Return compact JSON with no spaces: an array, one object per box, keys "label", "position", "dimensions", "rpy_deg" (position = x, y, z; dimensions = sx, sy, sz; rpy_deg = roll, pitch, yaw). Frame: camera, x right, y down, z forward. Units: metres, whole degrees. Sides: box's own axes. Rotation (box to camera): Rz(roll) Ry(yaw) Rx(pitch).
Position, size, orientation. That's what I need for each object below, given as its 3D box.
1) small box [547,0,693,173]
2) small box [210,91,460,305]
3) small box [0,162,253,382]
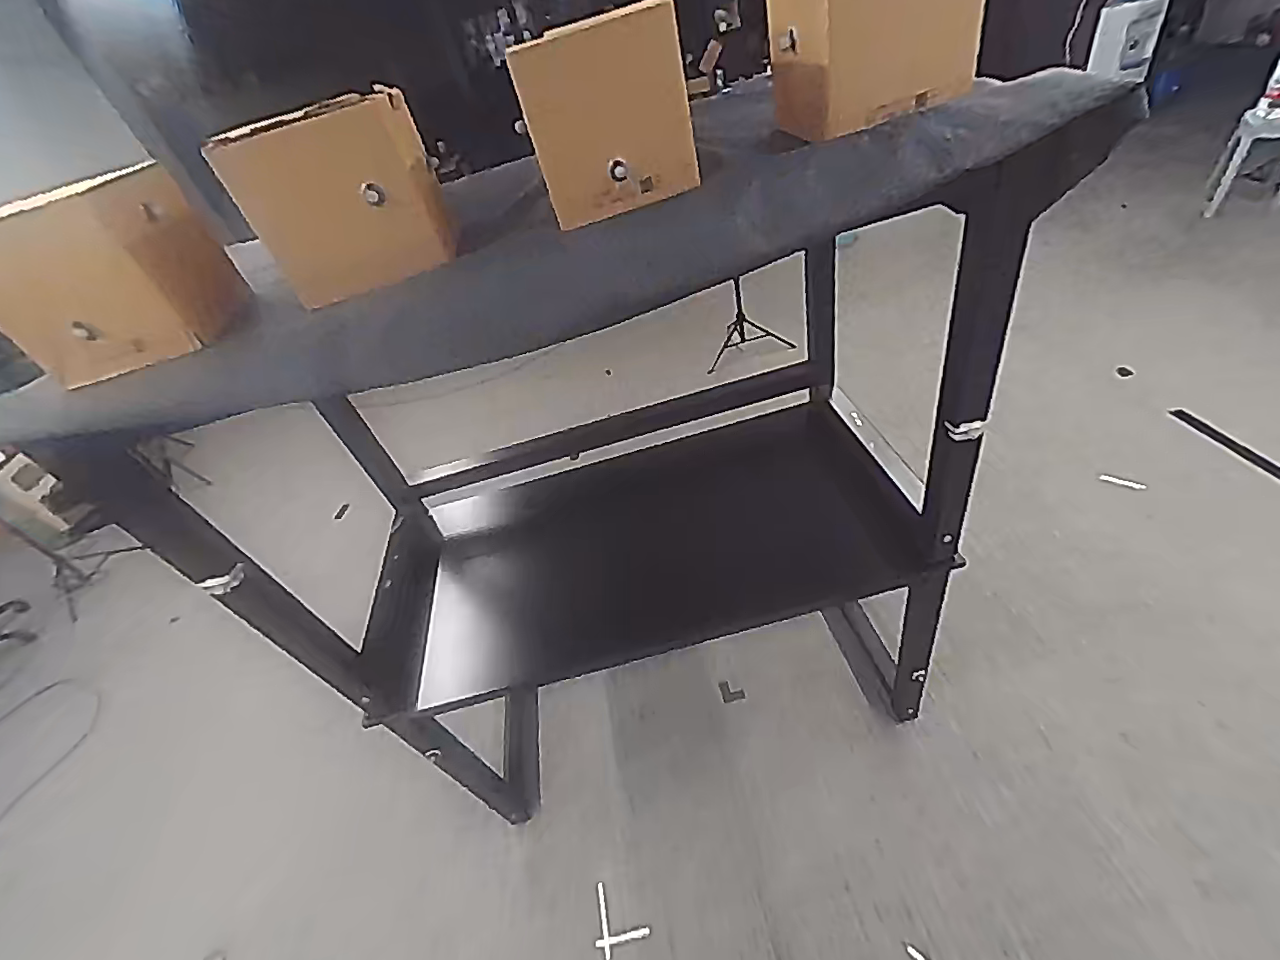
[{"label":"small box","position":[-0.029,-0.568,0.786],"dimensions":[0.168,0.176,0.179],"rpy_deg":[-16,40,3]},{"label":"small box","position":[-0.325,-0.326,0.625],"dimensions":[0.179,0.176,0.168],"rpy_deg":[-16,38,-2]},{"label":"small box","position":[-0.594,-0.239,0.622],"dimensions":[0.168,0.176,0.179],"rpy_deg":[-18,41,-1]}]
